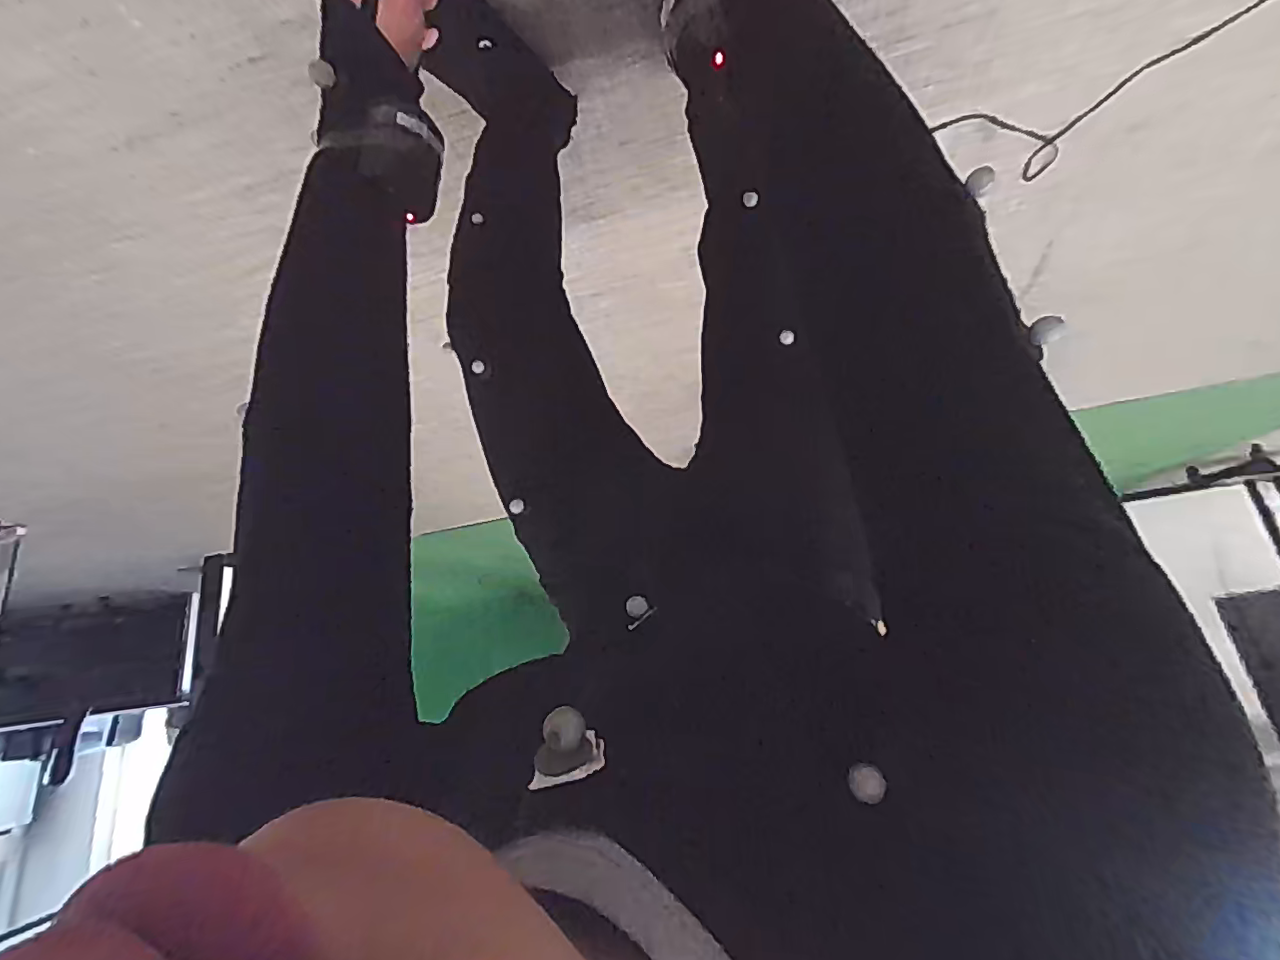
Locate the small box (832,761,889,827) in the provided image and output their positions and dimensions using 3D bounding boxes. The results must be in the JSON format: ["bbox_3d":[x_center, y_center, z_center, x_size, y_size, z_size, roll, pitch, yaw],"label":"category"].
[{"bbox_3d":[0.807,1.149,1.985,0.168,0.176,0.179,-11,164,20],"label":"small box"}]
